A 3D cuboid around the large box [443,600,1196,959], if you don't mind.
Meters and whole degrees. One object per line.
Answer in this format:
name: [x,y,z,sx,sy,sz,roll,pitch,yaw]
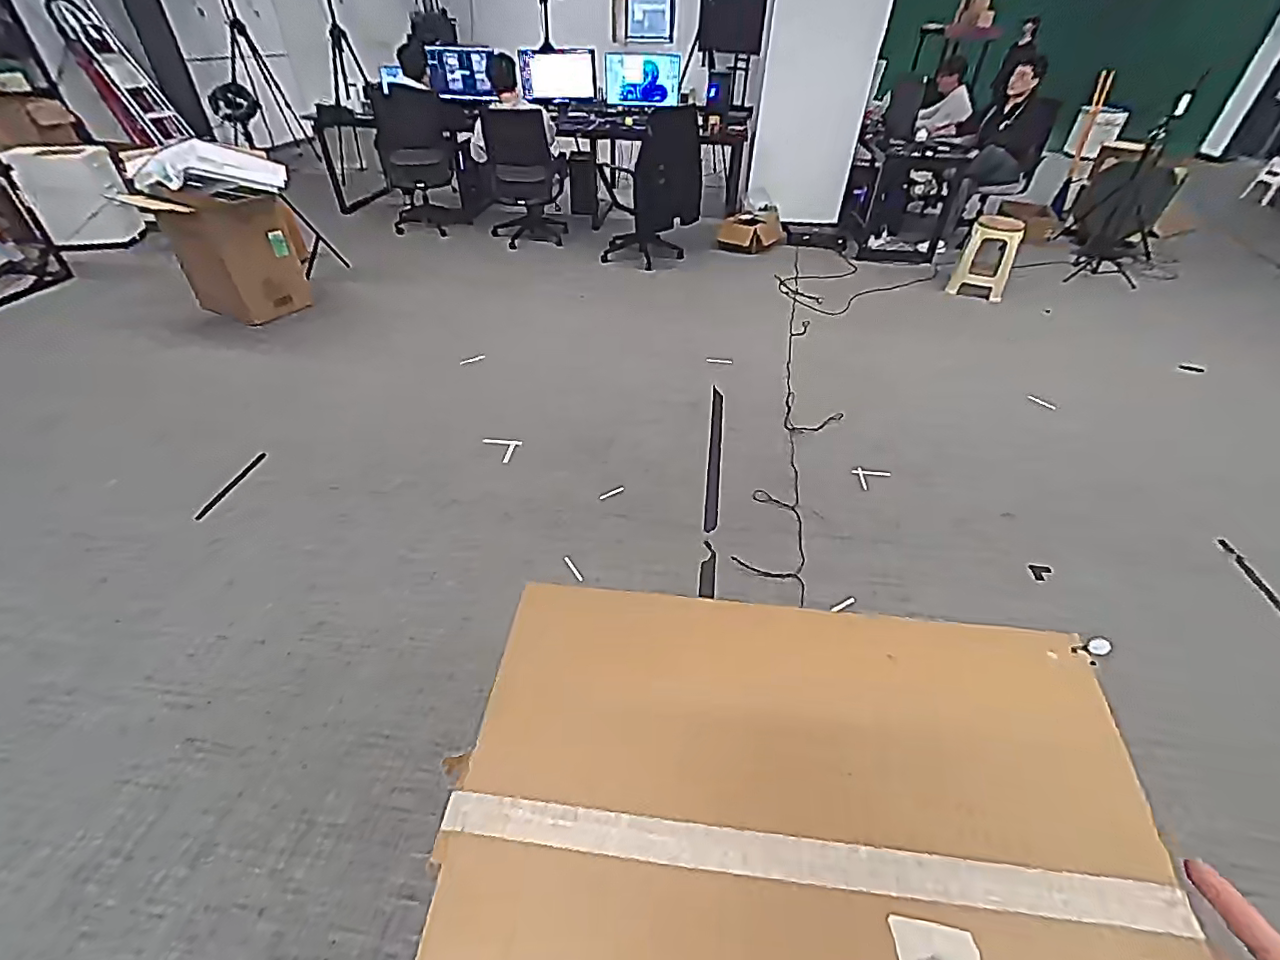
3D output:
large box: [0.098,0.318,0.429,0.408,0.320,0.320,4,52,5]
